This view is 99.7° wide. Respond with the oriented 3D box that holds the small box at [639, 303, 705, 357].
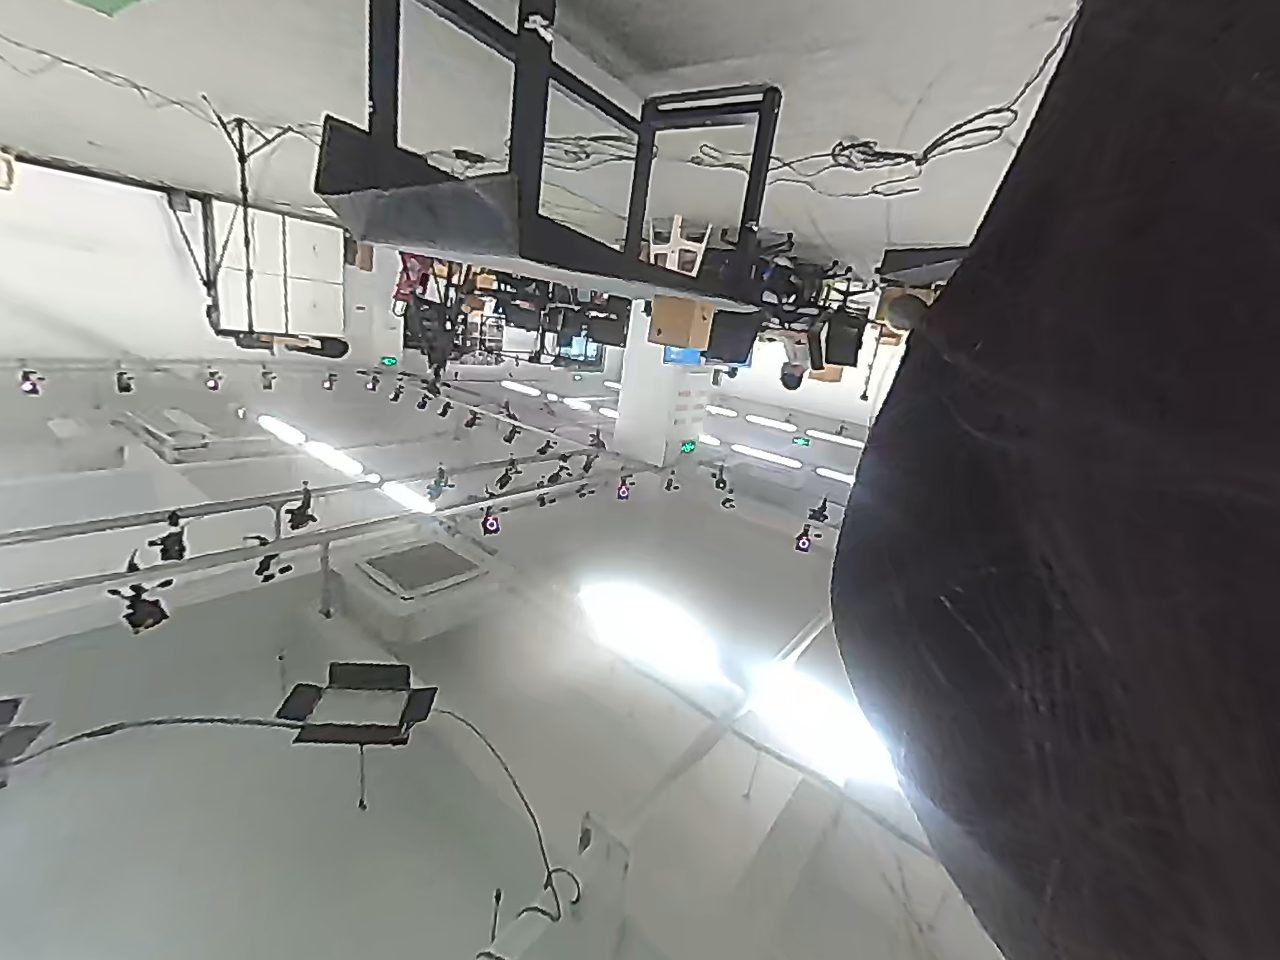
[{"bbox_3d":[0.121,-0.555,1.989,0.179,0.176,0.168,17,-162,28],"label":"small box"}]
